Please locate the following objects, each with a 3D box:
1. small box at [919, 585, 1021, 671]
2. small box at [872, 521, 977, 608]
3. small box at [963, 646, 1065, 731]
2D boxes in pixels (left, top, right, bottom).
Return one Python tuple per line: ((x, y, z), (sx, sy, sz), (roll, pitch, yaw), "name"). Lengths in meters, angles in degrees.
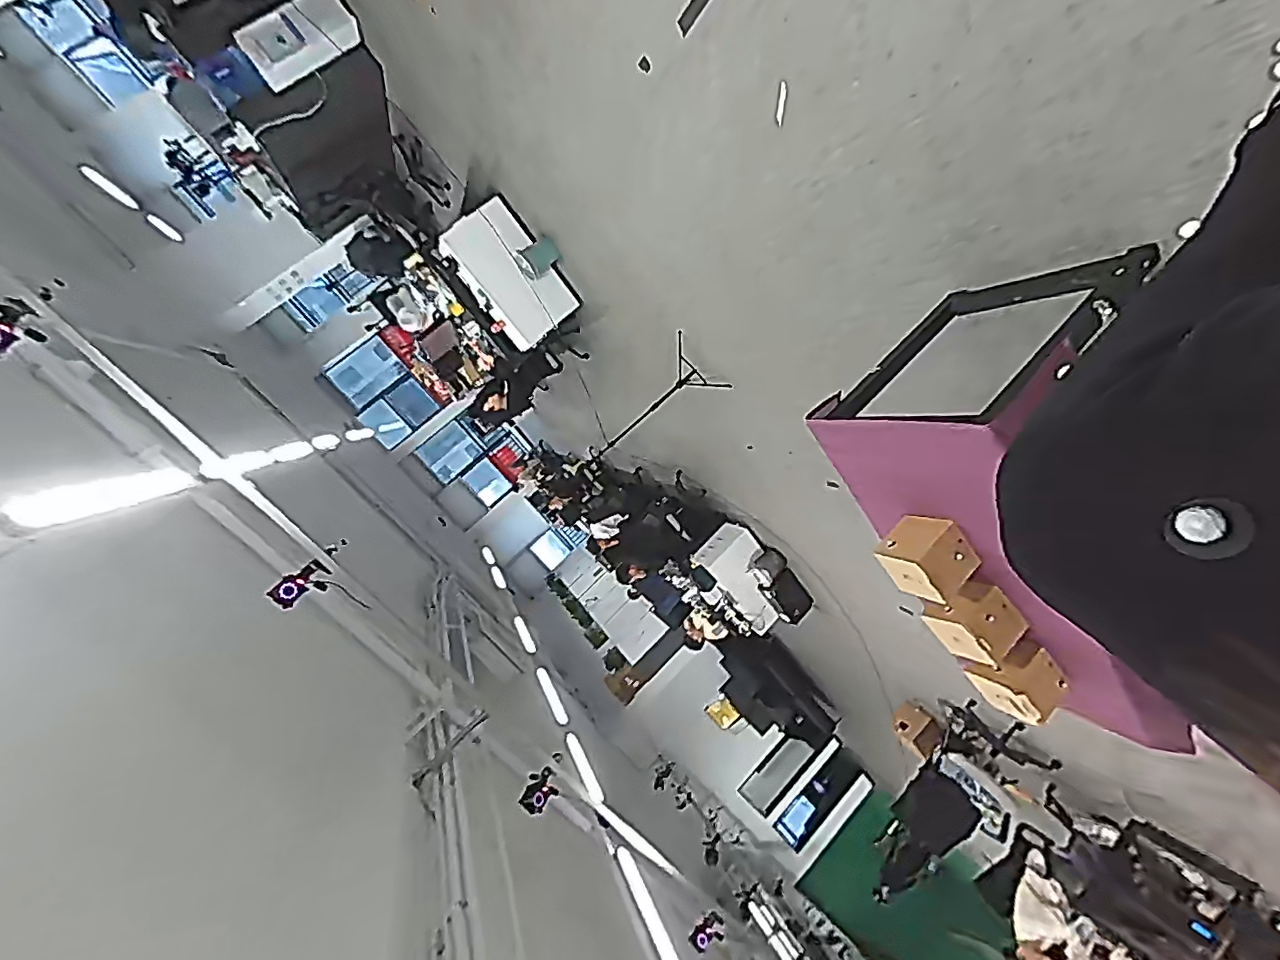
((0.998, 0.435, 1.624), (0.168, 0.176, 0.179), (49, 168, -5), "small box")
((0.828, 0.237, 1.574), (0.168, 0.176, 0.179), (50, 167, -14), "small box")
((1.157, 0.625, 1.666), (0.168, 0.176, 0.179), (49, 168, -7), "small box")
